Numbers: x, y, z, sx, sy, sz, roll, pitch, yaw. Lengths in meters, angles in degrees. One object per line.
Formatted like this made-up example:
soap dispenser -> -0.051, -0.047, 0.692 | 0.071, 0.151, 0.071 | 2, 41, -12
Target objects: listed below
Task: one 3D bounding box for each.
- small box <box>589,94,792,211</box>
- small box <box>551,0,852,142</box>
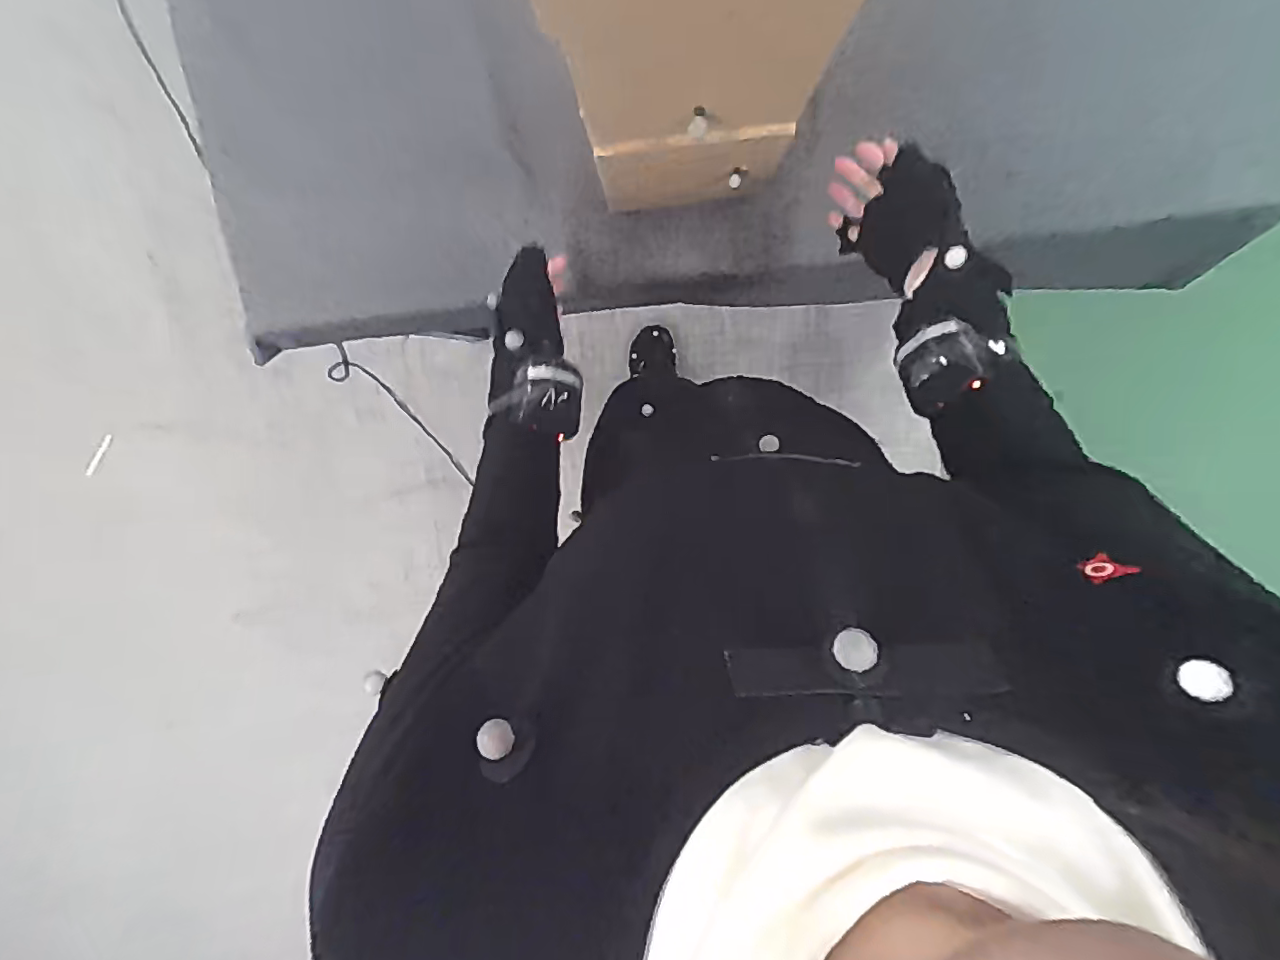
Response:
small box -> 0.038, -0.383, 0.528 | 0.179, 0.176, 0.168 | -6, 100, 5
small box -> 0.030, -0.359, 0.367 | 0.179, 0.176, 0.168 | -6, 100, 3
